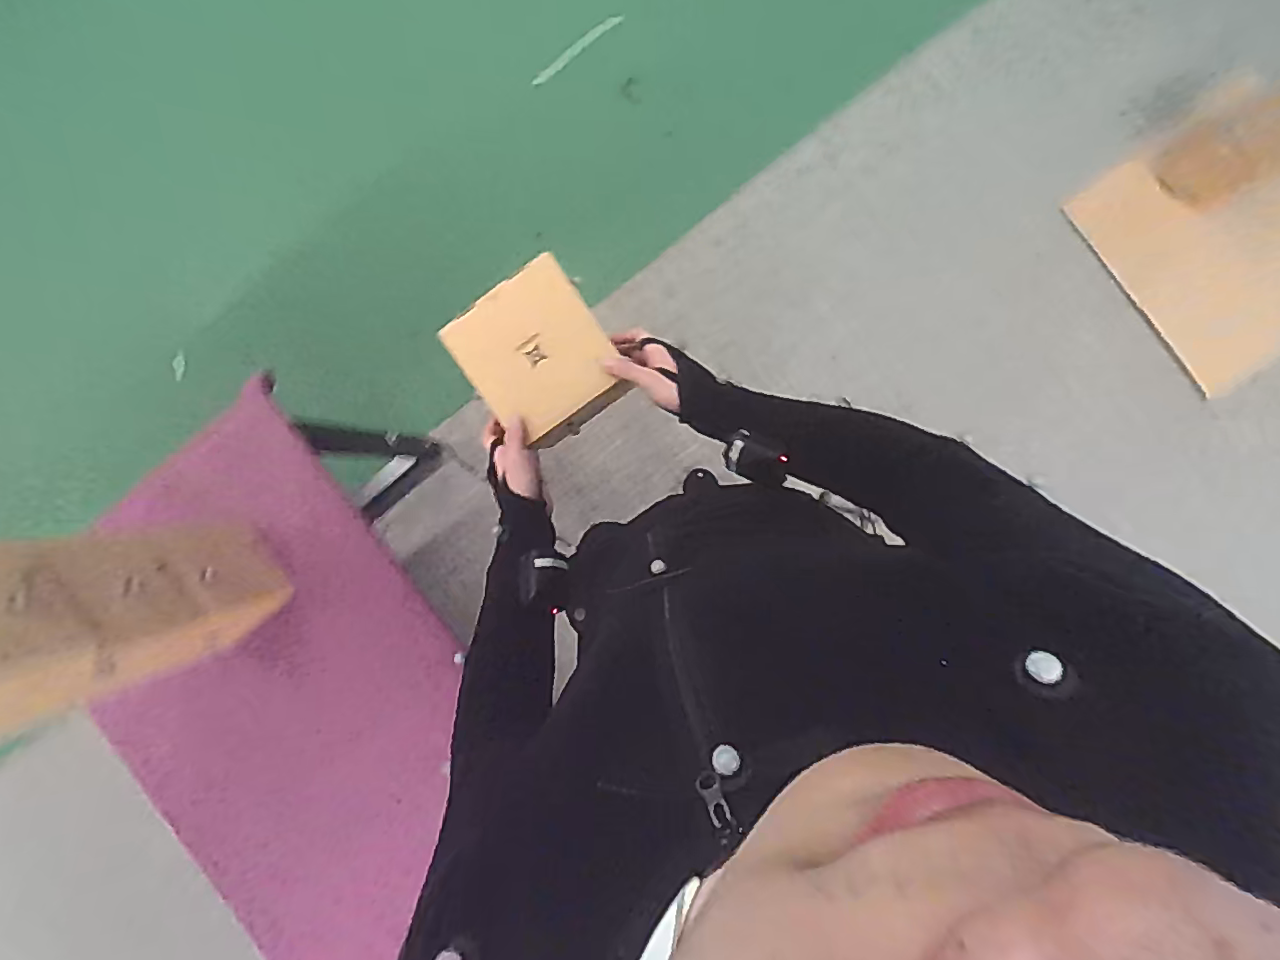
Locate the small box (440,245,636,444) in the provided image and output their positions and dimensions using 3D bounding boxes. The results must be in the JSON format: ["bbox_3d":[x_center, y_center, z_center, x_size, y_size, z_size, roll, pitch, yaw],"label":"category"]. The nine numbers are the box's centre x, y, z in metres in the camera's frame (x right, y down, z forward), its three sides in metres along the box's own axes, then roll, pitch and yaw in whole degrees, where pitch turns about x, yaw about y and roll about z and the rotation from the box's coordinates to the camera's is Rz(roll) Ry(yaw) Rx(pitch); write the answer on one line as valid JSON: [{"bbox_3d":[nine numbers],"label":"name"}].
[{"bbox_3d":[-0.118,-0.165,0.712,0.168,0.176,0.179,-35,91,5],"label":"small box"}]
